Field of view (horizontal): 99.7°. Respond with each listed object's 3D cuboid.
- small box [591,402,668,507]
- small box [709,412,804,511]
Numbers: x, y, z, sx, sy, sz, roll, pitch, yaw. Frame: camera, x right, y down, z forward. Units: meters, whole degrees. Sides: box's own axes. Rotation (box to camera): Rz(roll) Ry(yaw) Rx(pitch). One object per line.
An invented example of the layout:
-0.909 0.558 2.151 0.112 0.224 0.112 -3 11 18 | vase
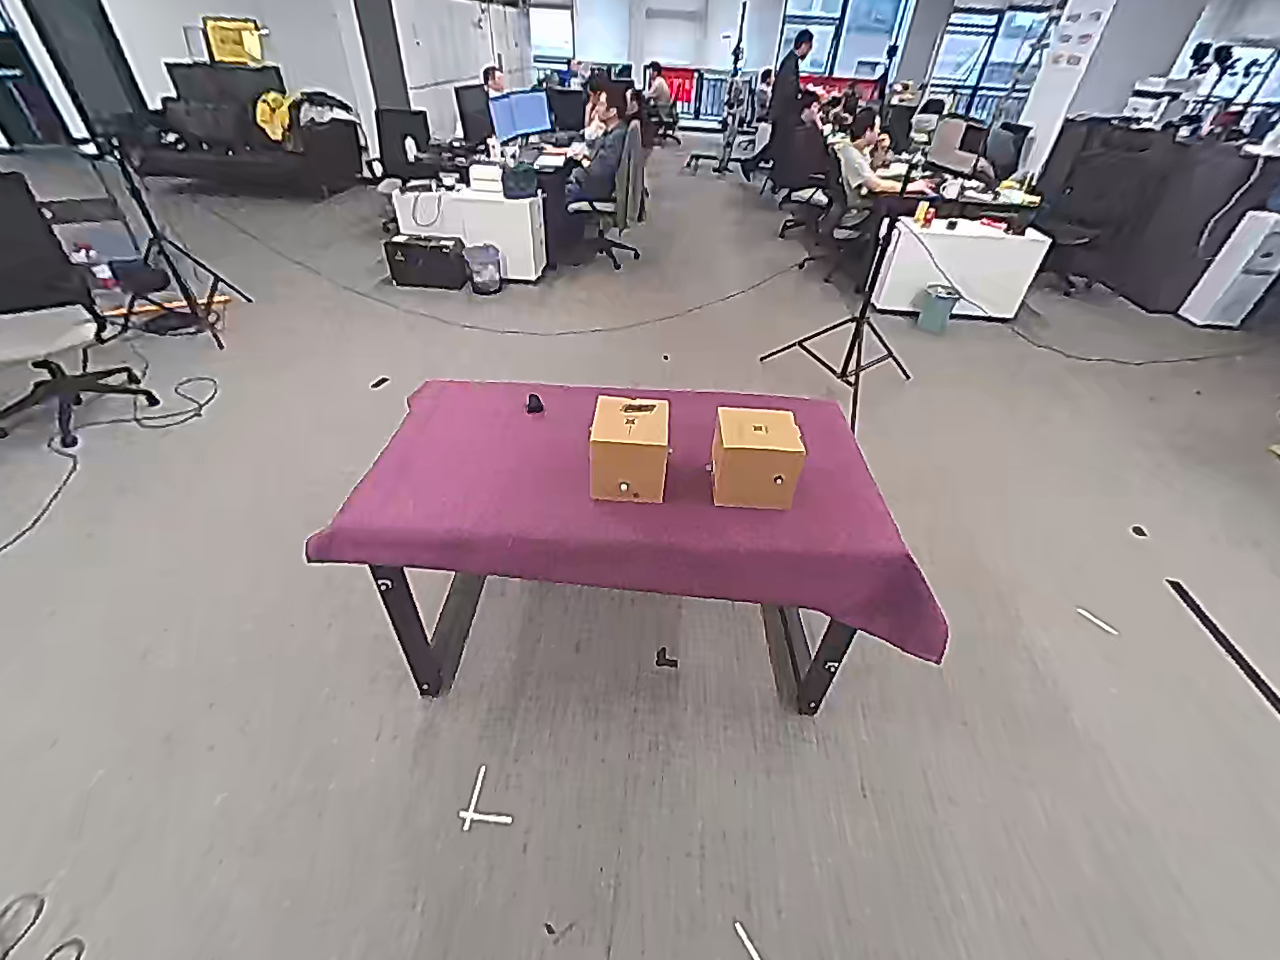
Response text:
-0.023 -0.060 1.251 0.168 0.176 0.179 3 39 1 | small box
0.260 -0.041 1.249 0.179 0.176 0.168 1 37 0 | small box
